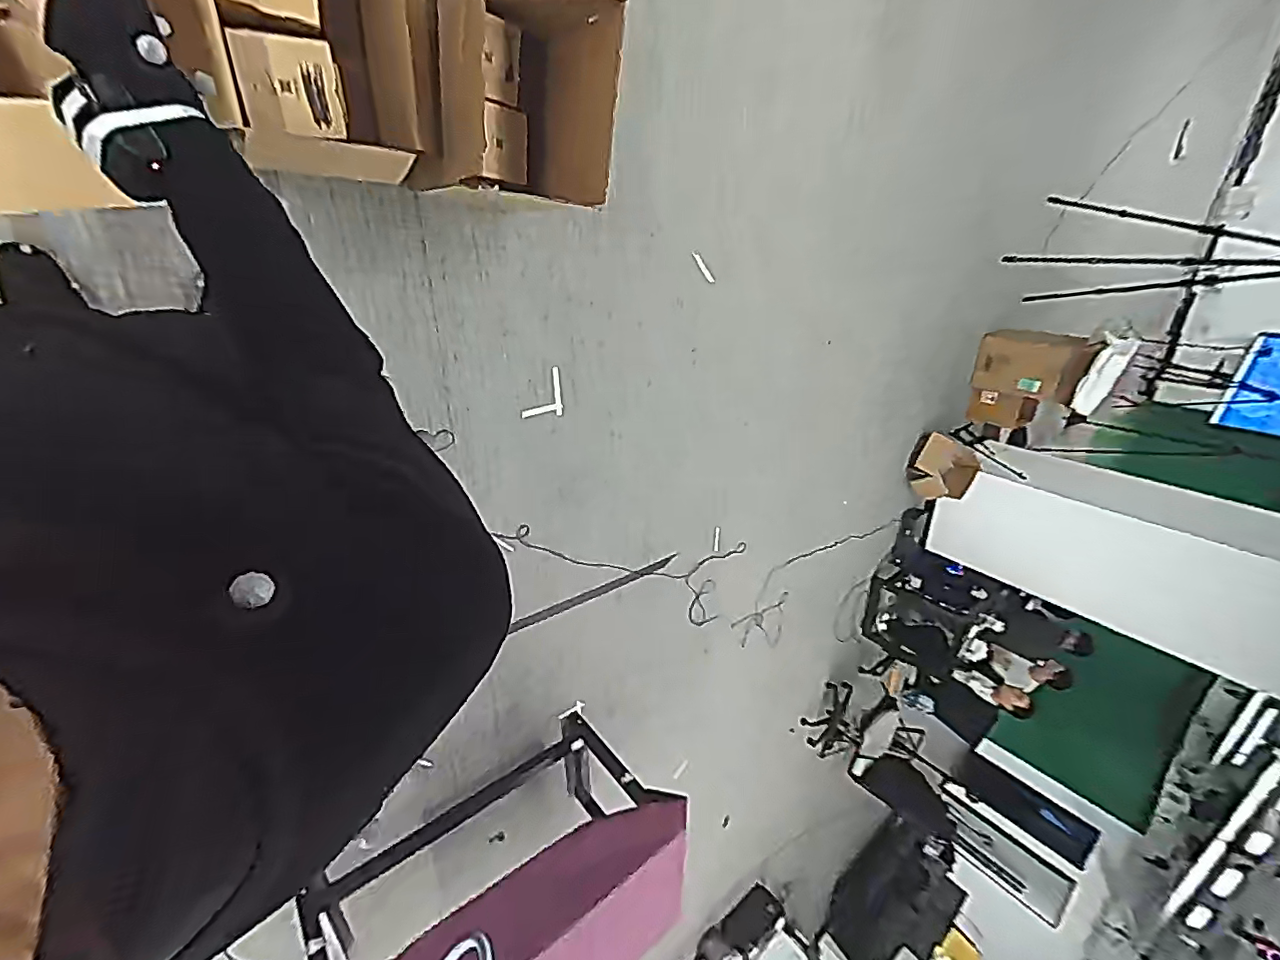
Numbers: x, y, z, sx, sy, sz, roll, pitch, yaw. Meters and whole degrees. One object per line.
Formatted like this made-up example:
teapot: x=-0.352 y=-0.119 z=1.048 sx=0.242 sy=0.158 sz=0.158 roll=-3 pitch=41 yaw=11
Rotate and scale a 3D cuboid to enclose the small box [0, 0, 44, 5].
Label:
small box: x=-0.542 y=-0.403 z=0.327 sx=0.179 sy=0.176 sz=0.168 roll=-39 pitch=143 yaw=-43
